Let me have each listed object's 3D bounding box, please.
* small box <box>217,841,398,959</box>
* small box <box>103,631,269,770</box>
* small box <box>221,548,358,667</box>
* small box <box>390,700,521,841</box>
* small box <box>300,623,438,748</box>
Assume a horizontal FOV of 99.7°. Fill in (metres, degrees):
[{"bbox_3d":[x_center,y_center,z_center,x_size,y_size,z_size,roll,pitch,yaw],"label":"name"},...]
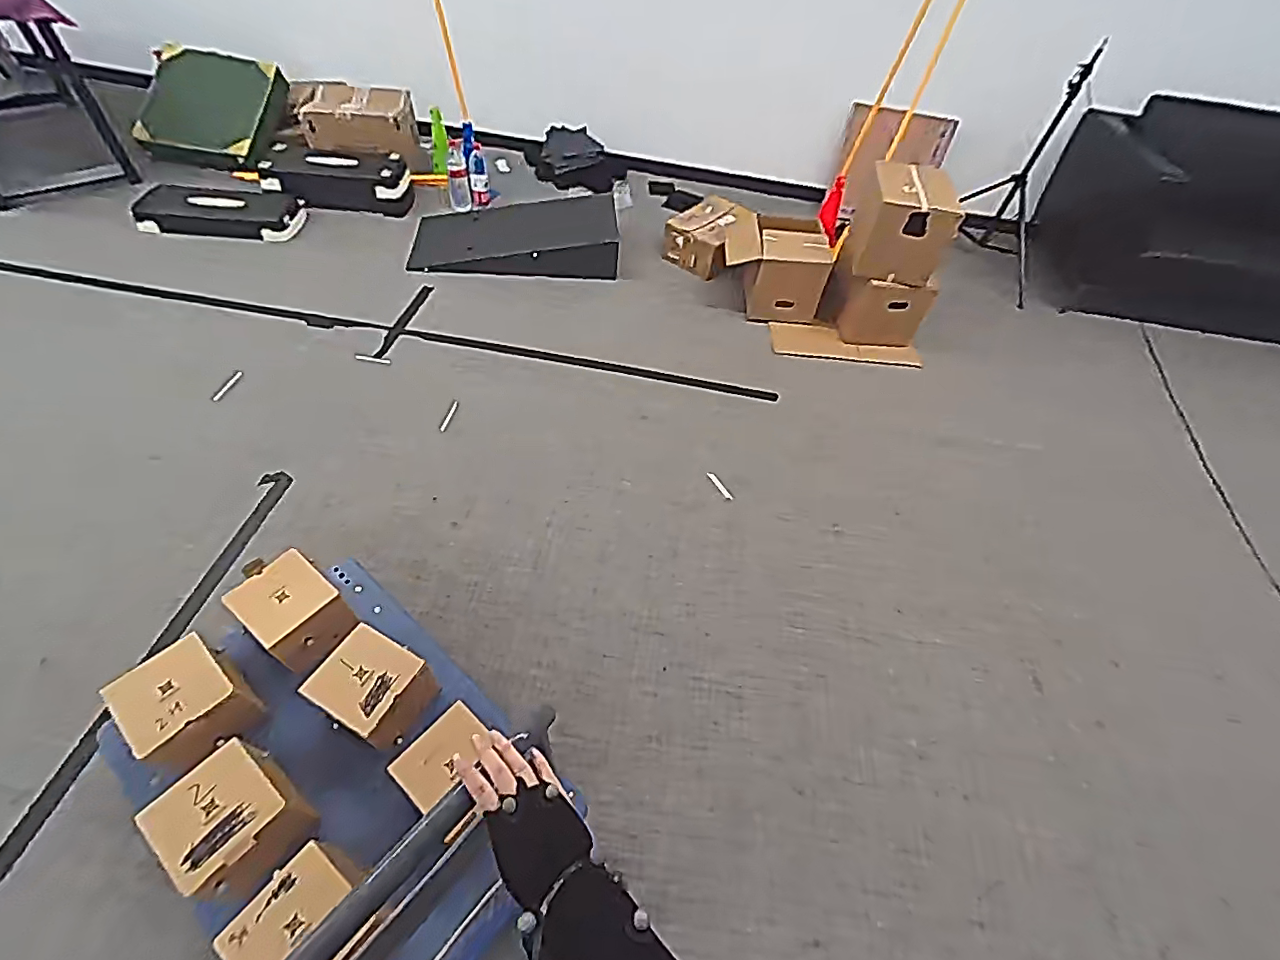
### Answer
[{"bbox_3d":[-0.535,0.742,0.898,0.179,0.176,0.168,33,54,17],"label":"small box"},{"bbox_3d":[-0.892,0.443,1.078,0.179,0.176,0.168,38,57,19],"label":"small box"},{"bbox_3d":[-0.773,0.294,1.214,0.179,0.176,0.168,34,55,17],"label":"small box"},{"bbox_3d":[-0.349,0.573,1.060,0.179,0.176,0.168,37,55,20],"label":"small box"},{"bbox_3d":[-0.554,0.436,1.135,0.179,0.176,0.168,26,53,13],"label":"small box"}]
